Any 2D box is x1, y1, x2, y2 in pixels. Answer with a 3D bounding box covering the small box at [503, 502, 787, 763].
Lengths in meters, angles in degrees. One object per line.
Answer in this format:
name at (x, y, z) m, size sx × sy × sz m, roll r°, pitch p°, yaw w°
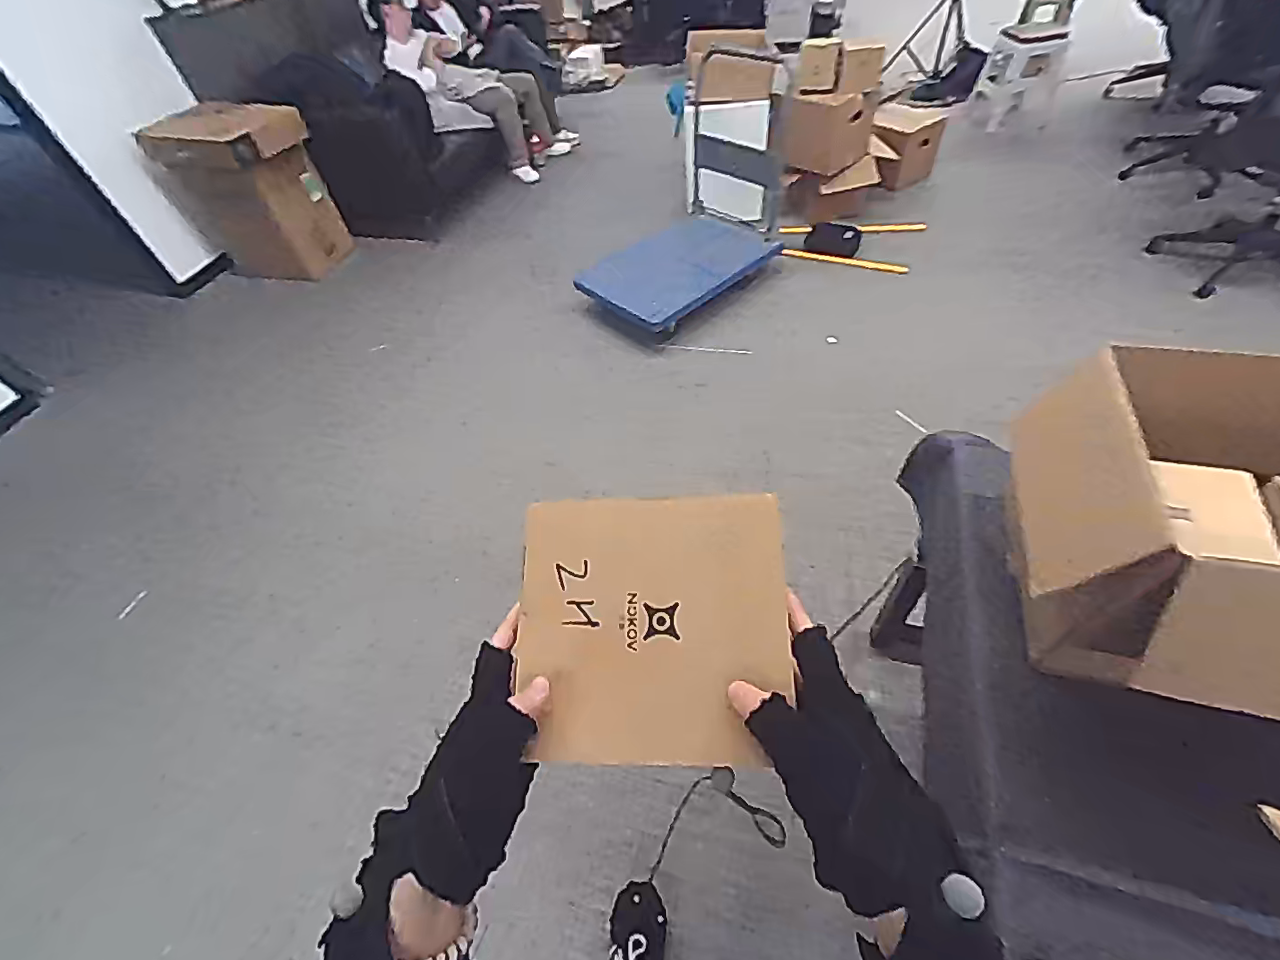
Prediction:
small box at (0.010, 0.122, 0.430) m, size 0.179 × 0.176 × 0.168 m, roll -2°, pitch 68°, yaw 7°
